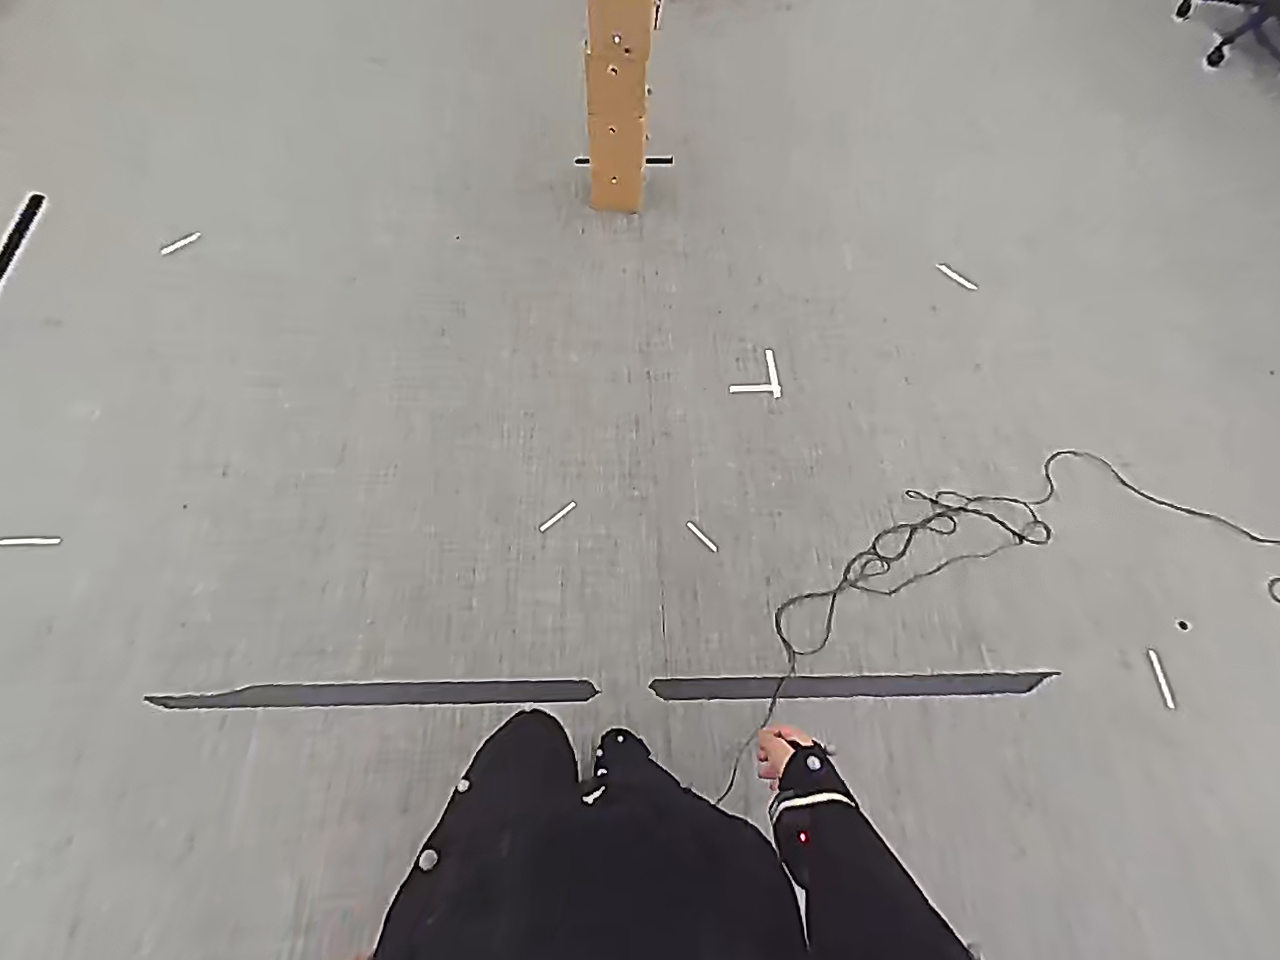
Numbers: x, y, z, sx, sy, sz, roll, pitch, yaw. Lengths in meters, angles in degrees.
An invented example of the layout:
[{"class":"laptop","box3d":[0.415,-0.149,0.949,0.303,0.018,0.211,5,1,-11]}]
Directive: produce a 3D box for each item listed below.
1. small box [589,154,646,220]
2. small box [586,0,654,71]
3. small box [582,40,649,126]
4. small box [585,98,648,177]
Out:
[{"class":"small box","box3d":[-0.077,-1.038,1.886,0.179,0.176,0.168,5,68,0]},{"class":"small box","box3d":[-0.050,-1.236,1.437,0.168,0.176,0.179,5,69,1]},{"class":"small box","box3d":[-0.068,-1.178,1.591,0.179,0.176,0.168,6,69,0]},{"class":"small box","box3d":[-0.073,-1.108,1.737,0.179,0.176,0.168,8,68,2]}]
